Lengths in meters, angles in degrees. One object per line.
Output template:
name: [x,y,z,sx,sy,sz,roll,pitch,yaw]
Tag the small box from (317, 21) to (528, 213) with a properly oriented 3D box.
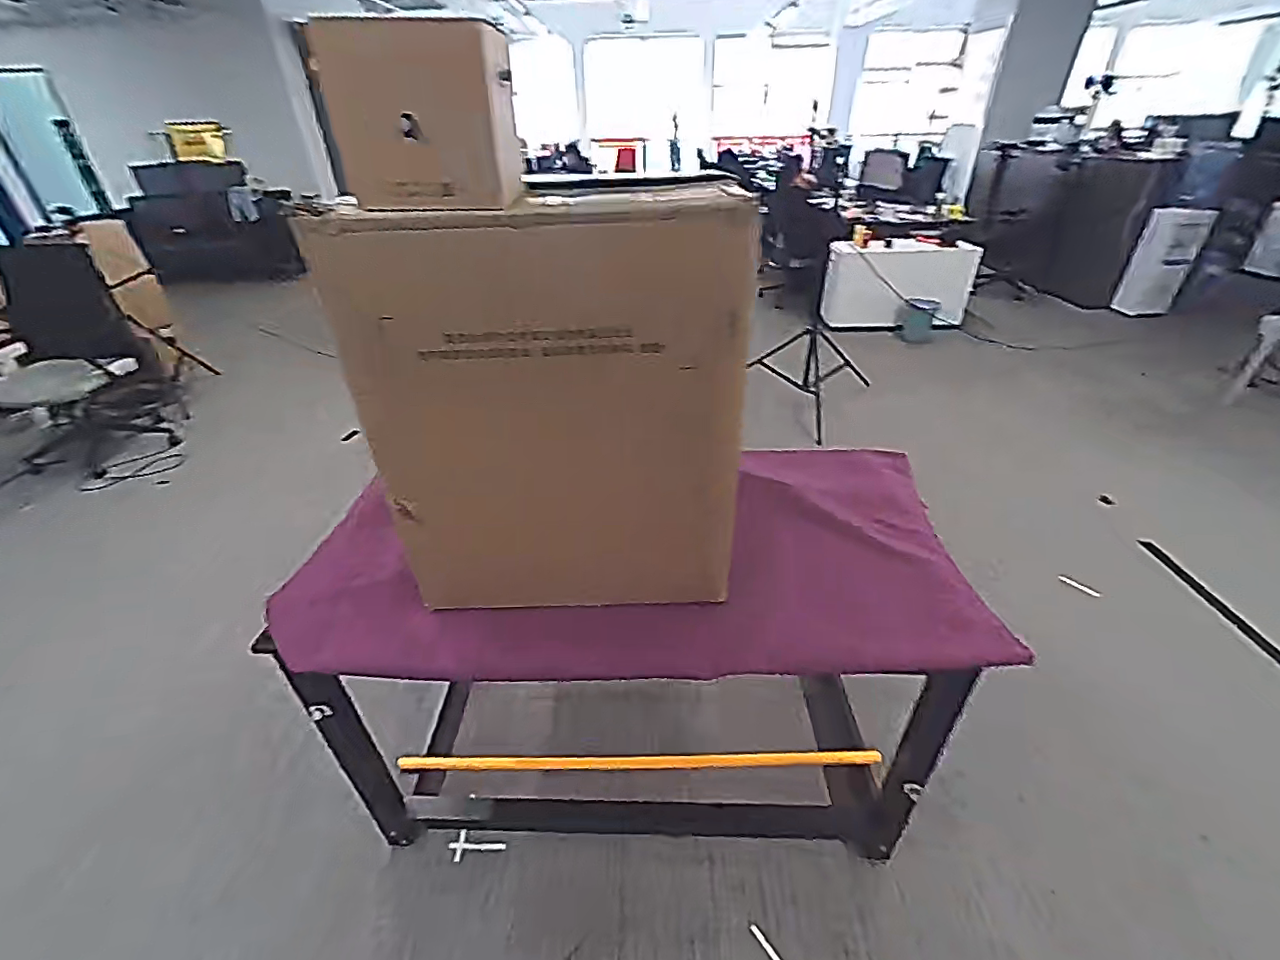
small box: [-0.229,-0.413,0.628,0.168,0.176,0.179,0,34,-2]
